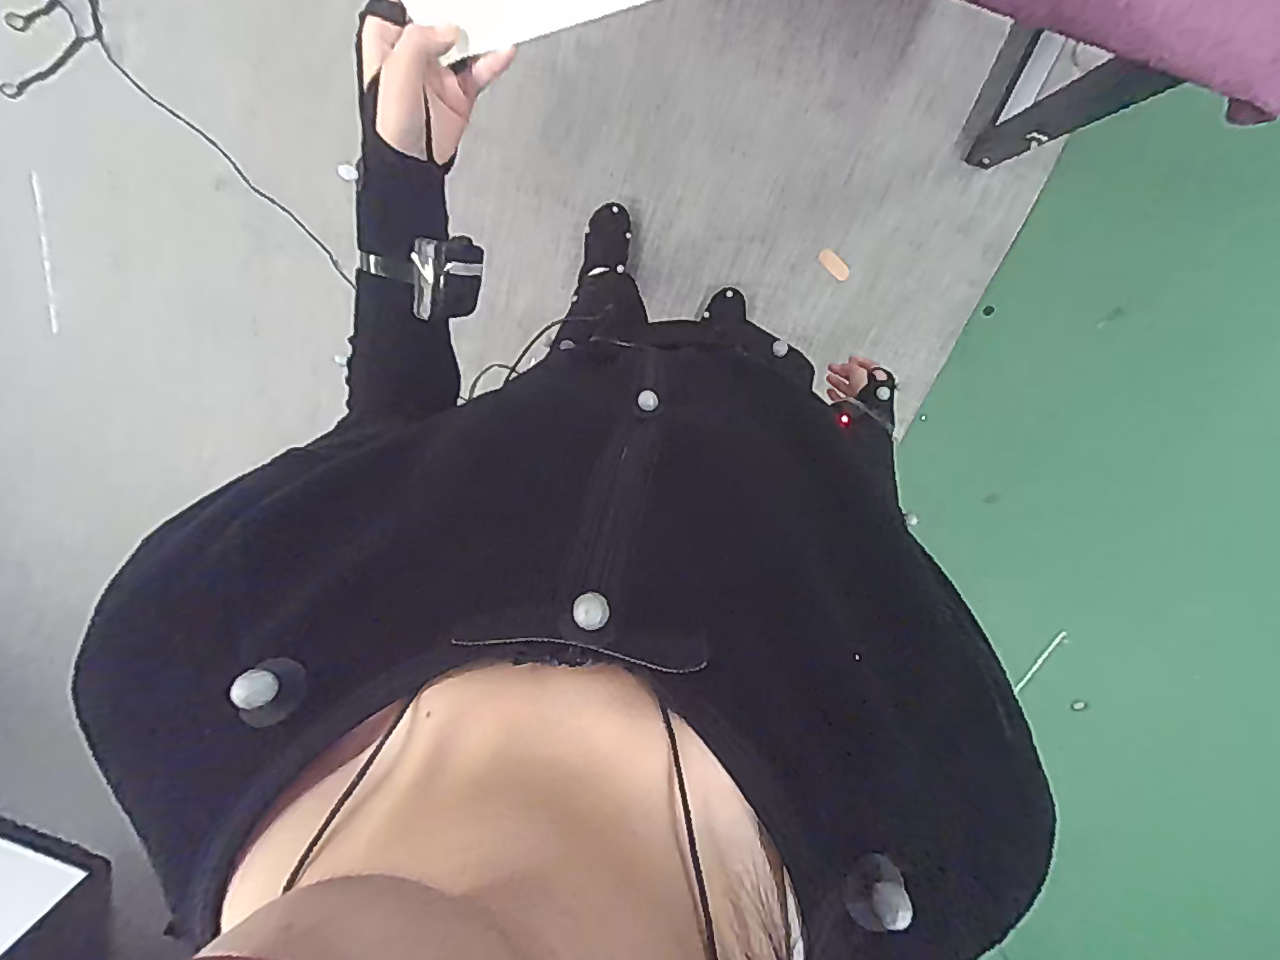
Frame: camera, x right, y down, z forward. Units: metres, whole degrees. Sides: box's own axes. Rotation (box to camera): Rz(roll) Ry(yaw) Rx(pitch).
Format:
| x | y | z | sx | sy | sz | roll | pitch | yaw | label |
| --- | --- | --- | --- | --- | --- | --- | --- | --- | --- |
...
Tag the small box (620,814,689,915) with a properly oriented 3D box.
| x | y | z | sx | sy | sz | roll | pitch | yaw | label |
| --- | --- | --- | --- | --- | --- | --- | --- | --- | --- |
| 0.038 | 1.090 | 1.533 | 0.179 | 0.176 | 0.168 | 11 | 110 | 6 | small box |
